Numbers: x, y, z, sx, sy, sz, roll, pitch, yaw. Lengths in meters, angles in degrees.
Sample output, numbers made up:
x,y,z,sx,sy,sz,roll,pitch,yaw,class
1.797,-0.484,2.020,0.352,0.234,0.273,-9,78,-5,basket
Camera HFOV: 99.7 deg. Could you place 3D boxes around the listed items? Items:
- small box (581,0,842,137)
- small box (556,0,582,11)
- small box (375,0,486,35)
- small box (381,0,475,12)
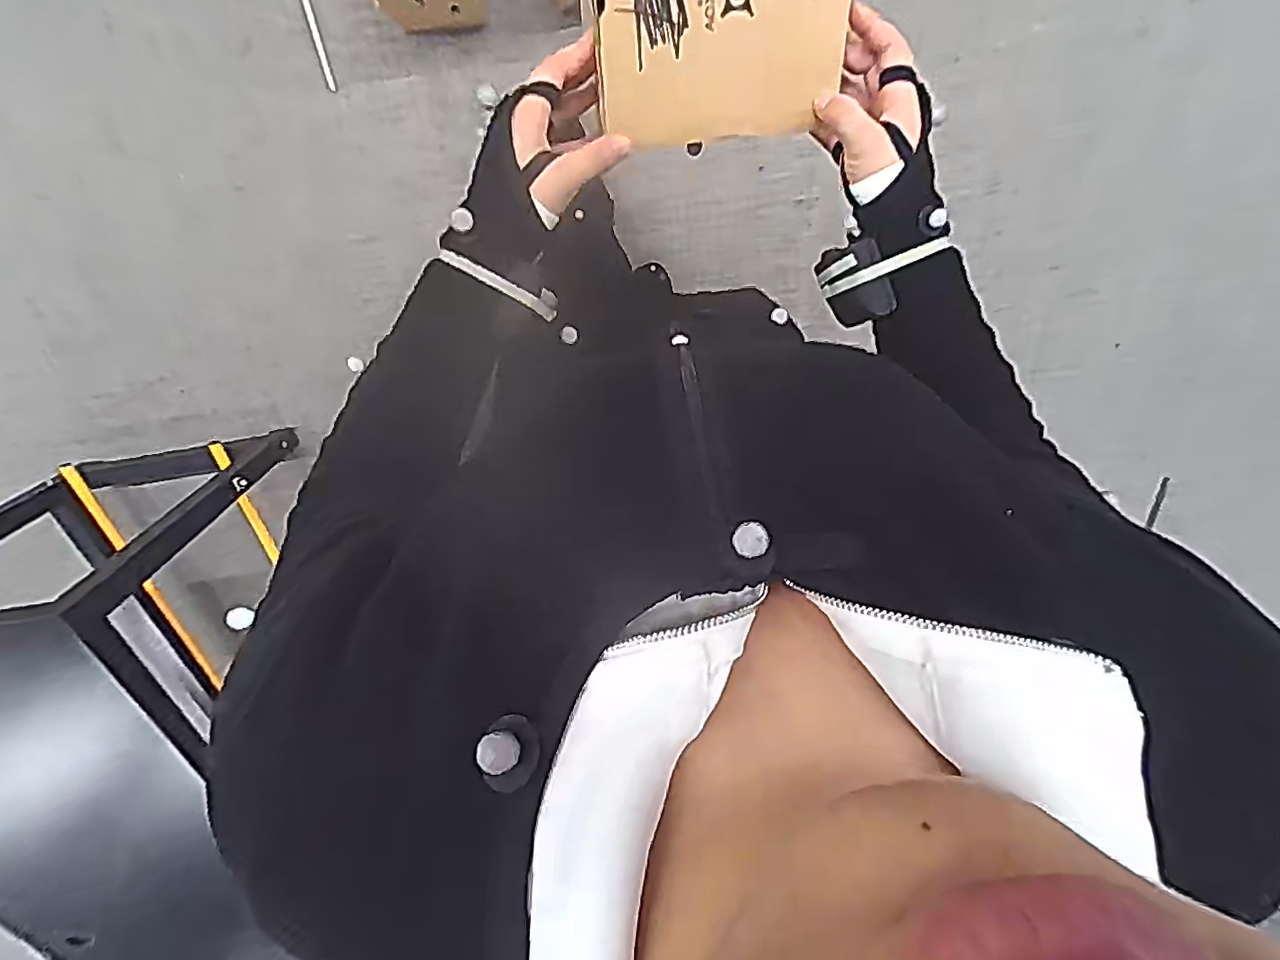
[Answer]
x,y,z,sx,sy,sz,roll,pitch,yaw,class
0.043,-0.374,0.422,0.179,0.176,0.168,-7,128,-4,small box
-0.091,-0.986,0.978,0.168,0.176,0.179,-11,119,0,small box
-0.384,-0.931,0.974,0.179,0.176,0.168,-7,118,-2,small box
-0.362,-0.859,0.829,0.168,0.176,0.179,-7,120,-1,small box
